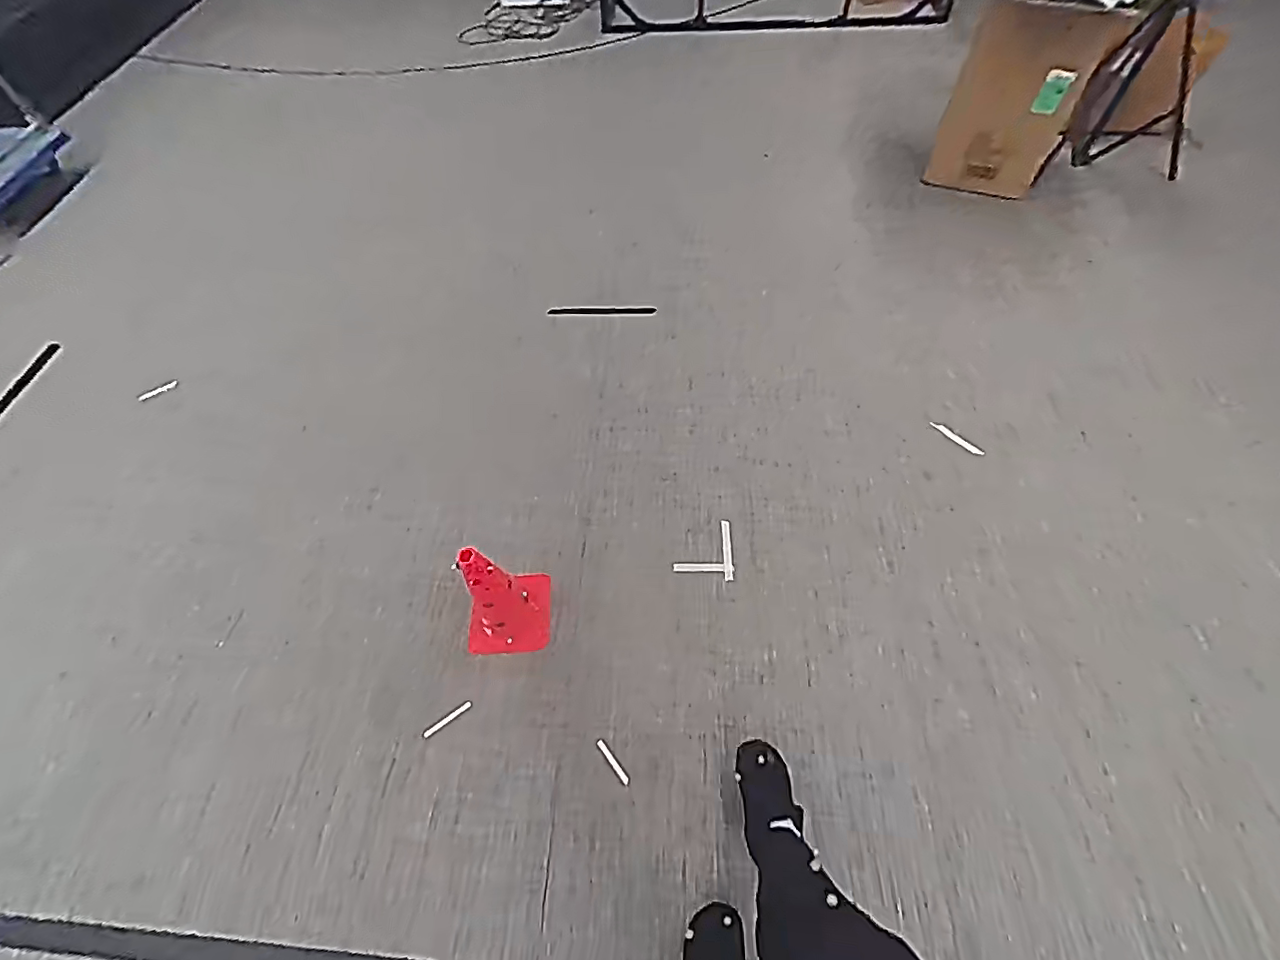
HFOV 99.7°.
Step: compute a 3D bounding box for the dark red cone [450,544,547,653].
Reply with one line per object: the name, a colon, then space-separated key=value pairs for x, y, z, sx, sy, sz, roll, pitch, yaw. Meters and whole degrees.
dark red cone: x=-0.341 y=0.238 z=1.202 sx=0.202 sy=0.394 sz=0.201 roll=-5 pitch=59 yaw=0
